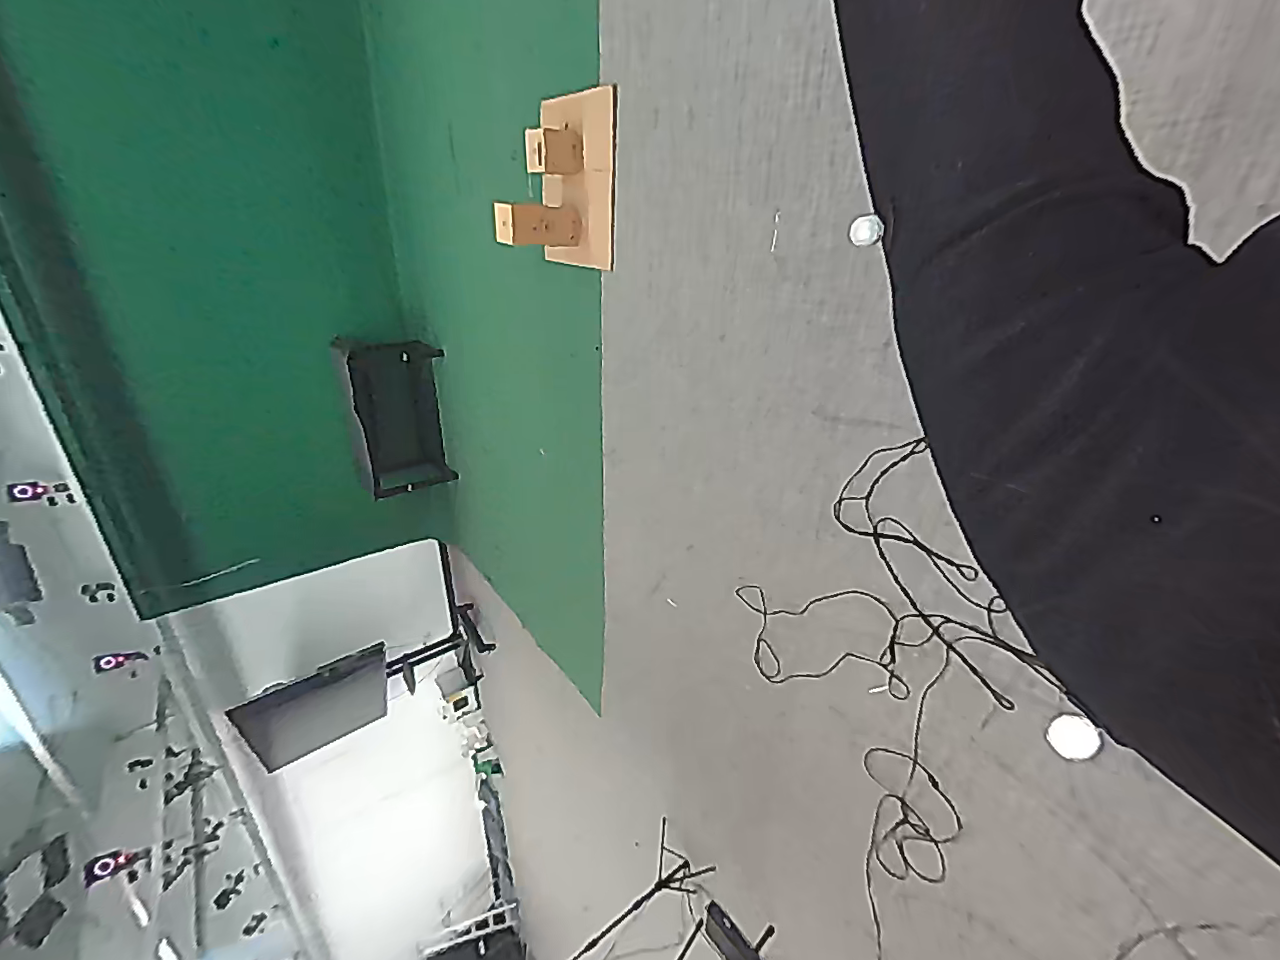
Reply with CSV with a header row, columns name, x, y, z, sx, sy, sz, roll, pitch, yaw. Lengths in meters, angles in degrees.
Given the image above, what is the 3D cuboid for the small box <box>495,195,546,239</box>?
name,x,y,z,sx,sy,sz,roll,pitch,yaw
small box,-0.544,-1.201,2.468,0.179,0.176,0.168,34,130,43

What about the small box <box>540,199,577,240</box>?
name,x,y,z,sx,sy,sz,roll,pitch,yaw
small box,-0.408,-1.232,2.552,0.179,0.176,0.168,34,131,44
